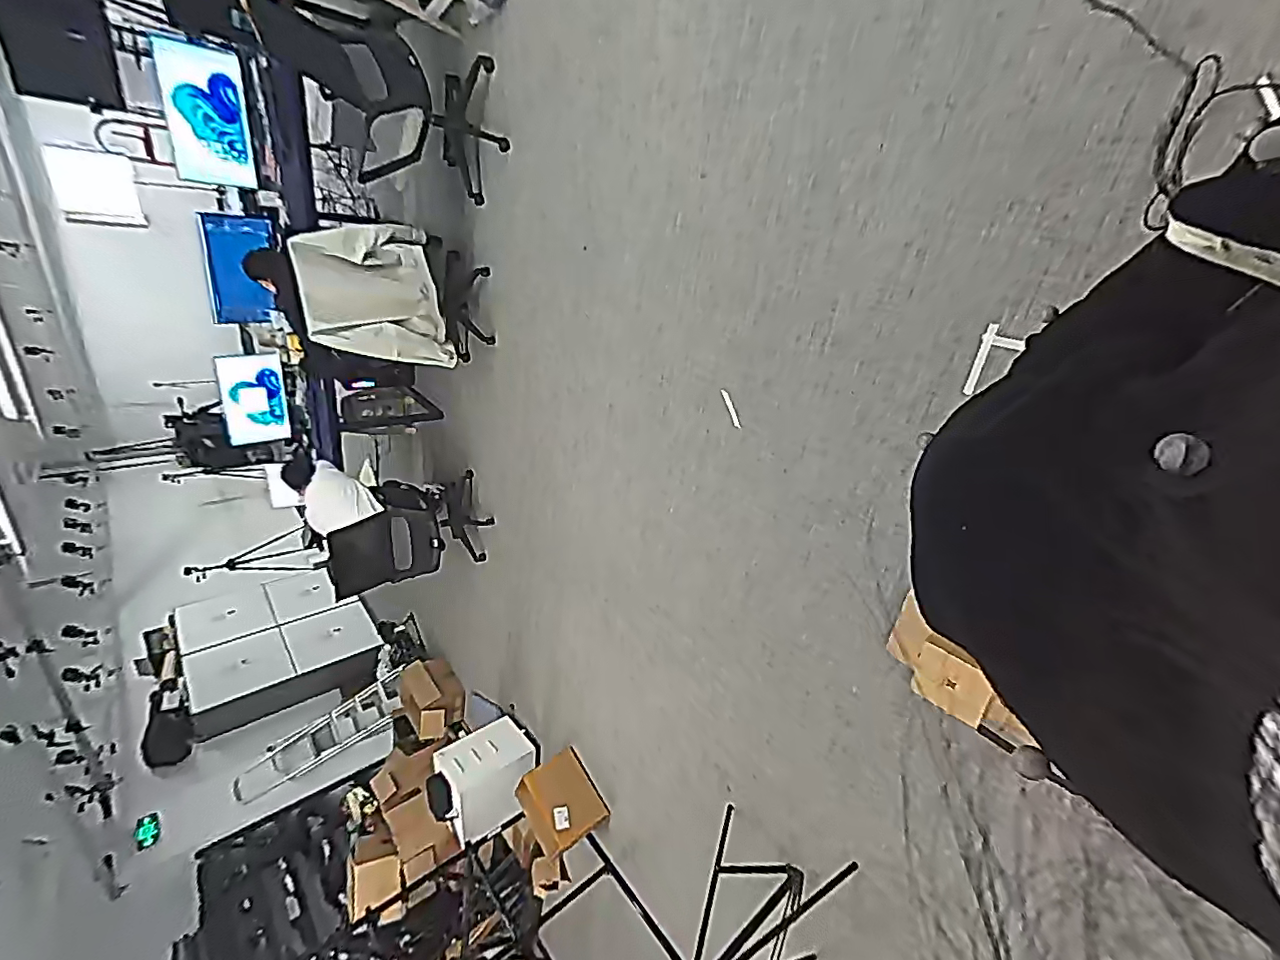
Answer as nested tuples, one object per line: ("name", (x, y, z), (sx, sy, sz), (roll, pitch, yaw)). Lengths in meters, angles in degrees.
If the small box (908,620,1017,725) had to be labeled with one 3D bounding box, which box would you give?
("small box", (0.840, 0.489, 1.412), (0.179, 0.176, 0.168), (27, 122, 41))
